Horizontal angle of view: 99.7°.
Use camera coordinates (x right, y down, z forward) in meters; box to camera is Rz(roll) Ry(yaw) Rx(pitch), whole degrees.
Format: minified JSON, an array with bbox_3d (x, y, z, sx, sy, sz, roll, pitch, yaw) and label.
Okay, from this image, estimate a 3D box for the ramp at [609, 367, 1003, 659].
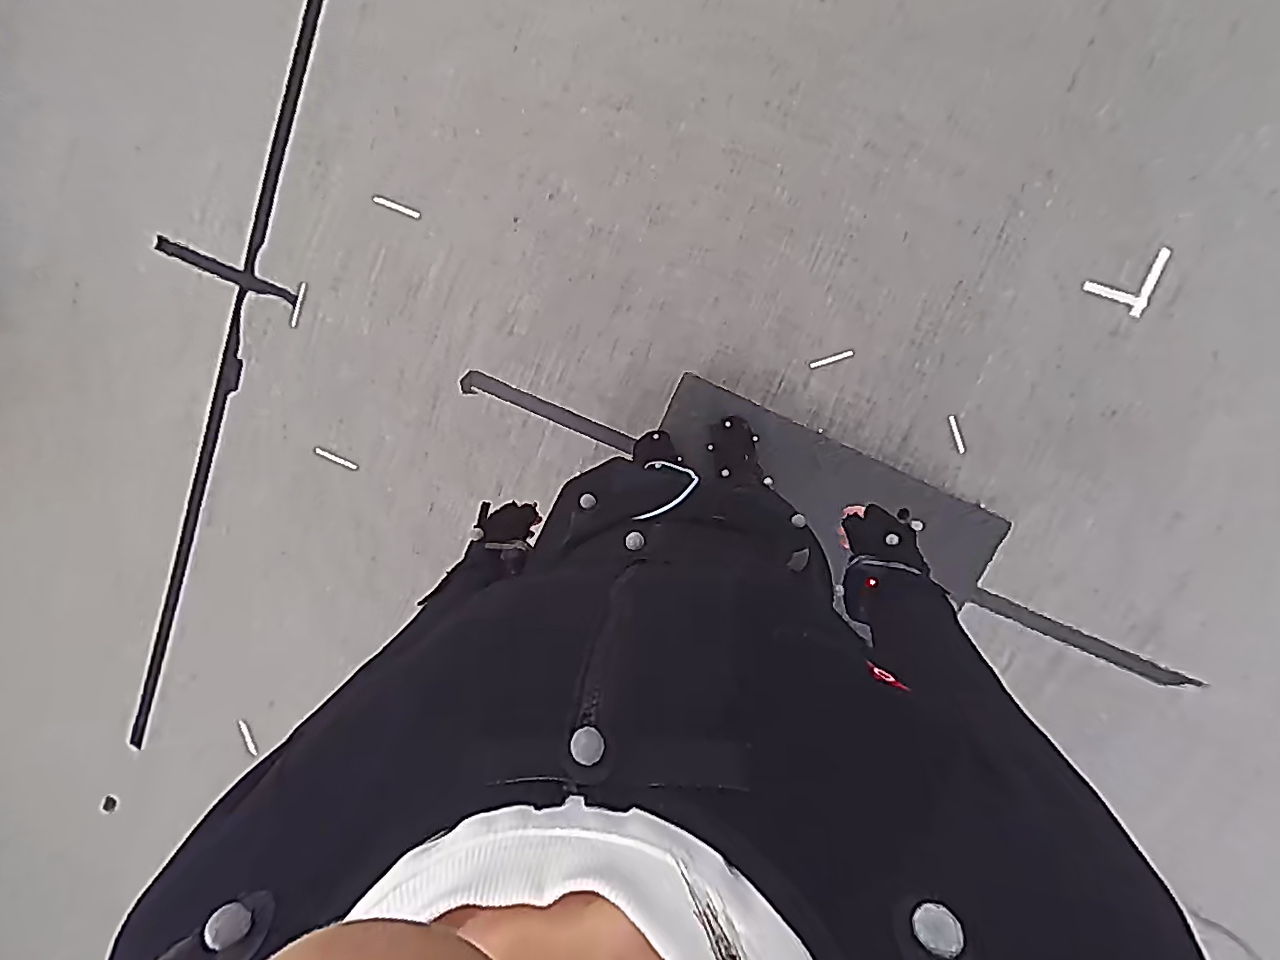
[{"bbox_3d":[0.461,0.115,1.481,0.991,0.206,0.509,23,99,4],"label":"ramp"}]
